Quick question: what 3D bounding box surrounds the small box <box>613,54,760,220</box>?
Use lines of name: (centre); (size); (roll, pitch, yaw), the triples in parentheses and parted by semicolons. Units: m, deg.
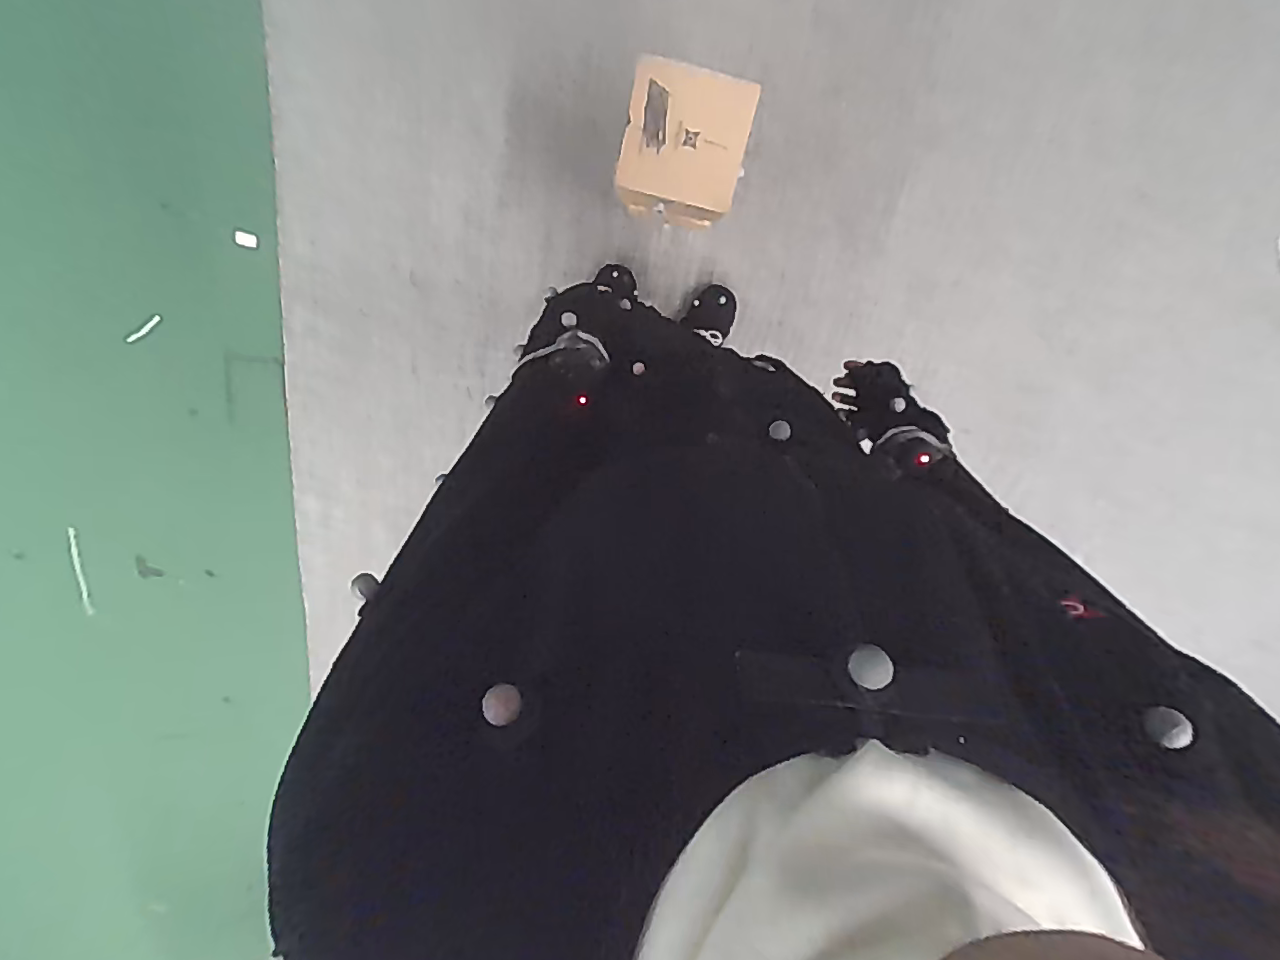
small box: (0.066, -0.514, 0.839); (0.179, 0.176, 0.168); (14, 112, -3)

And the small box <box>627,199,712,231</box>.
small box: (0.076, -0.634, 1.142); (0.179, 0.176, 0.168); (12, 112, -4)
